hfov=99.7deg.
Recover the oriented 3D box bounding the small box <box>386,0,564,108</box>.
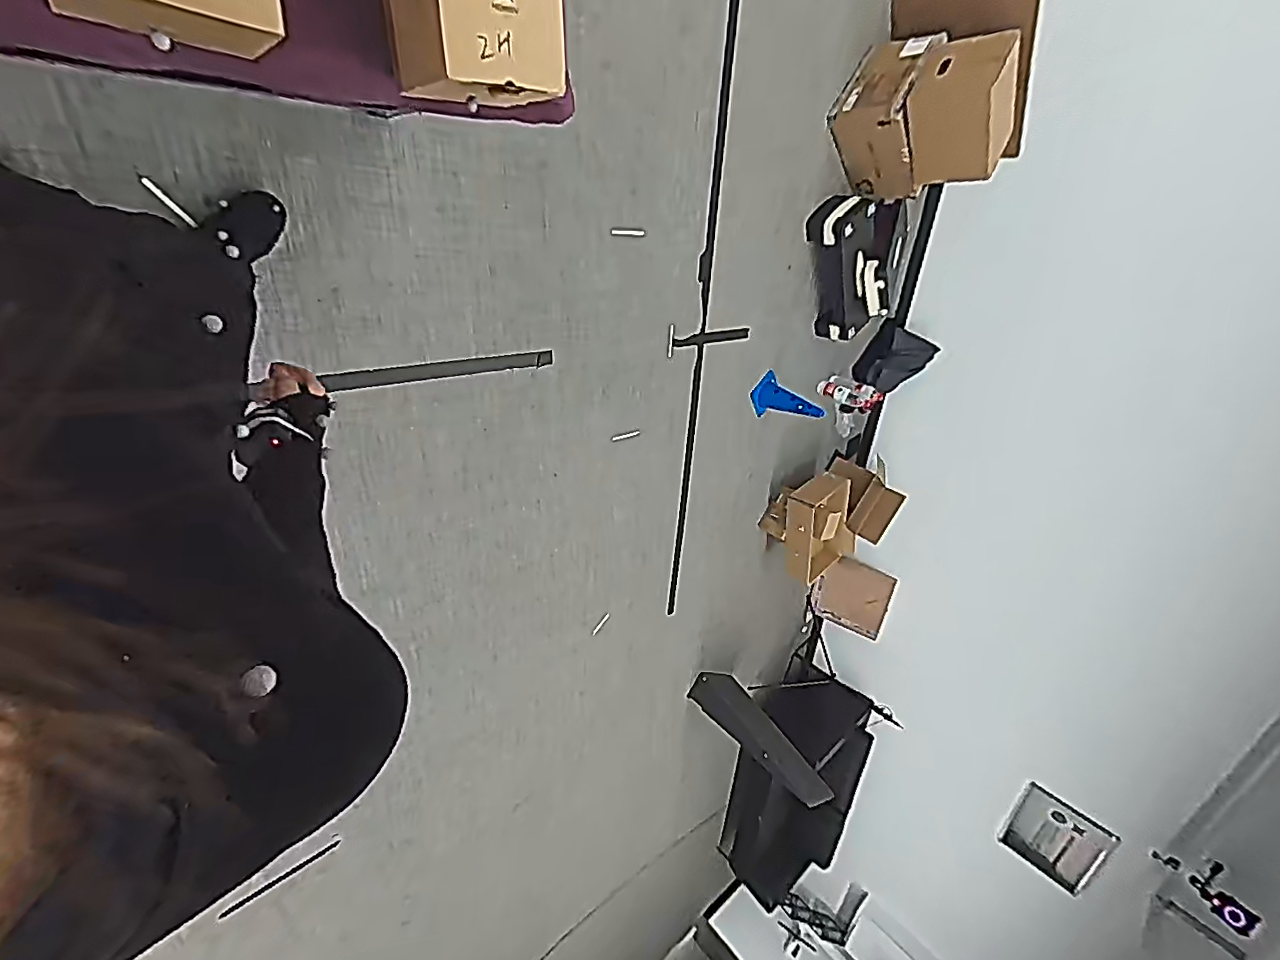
[{"bbox_3d":[-0.213,-0.591,0.685,0.168,0.176,0.179,-21,126,-35],"label":"small box"}]

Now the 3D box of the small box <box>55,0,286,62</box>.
[{"bbox_3d":[-0.449,-0.516,0.491,0.168,0.176,0.179,-16,123,-39],"label":"small box"}]
